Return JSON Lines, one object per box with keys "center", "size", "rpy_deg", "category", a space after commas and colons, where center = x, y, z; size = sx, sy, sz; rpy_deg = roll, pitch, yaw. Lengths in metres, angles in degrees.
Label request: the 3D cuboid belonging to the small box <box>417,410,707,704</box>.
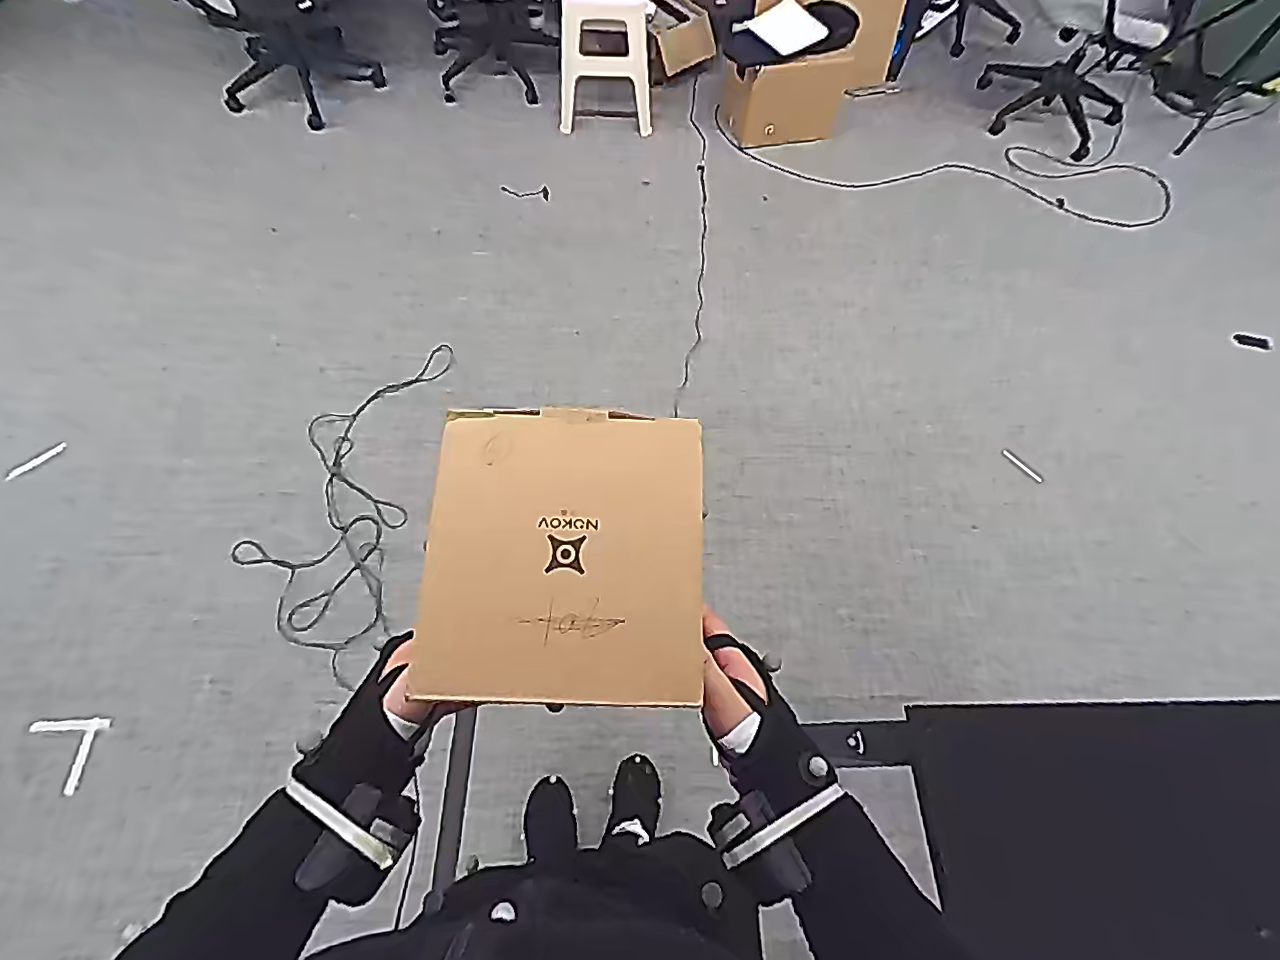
{"center": [-0.045, 0.064, 0.405], "size": [0.168, 0.176, 0.179], "rpy_deg": [2, 73, -2], "category": "small box"}
